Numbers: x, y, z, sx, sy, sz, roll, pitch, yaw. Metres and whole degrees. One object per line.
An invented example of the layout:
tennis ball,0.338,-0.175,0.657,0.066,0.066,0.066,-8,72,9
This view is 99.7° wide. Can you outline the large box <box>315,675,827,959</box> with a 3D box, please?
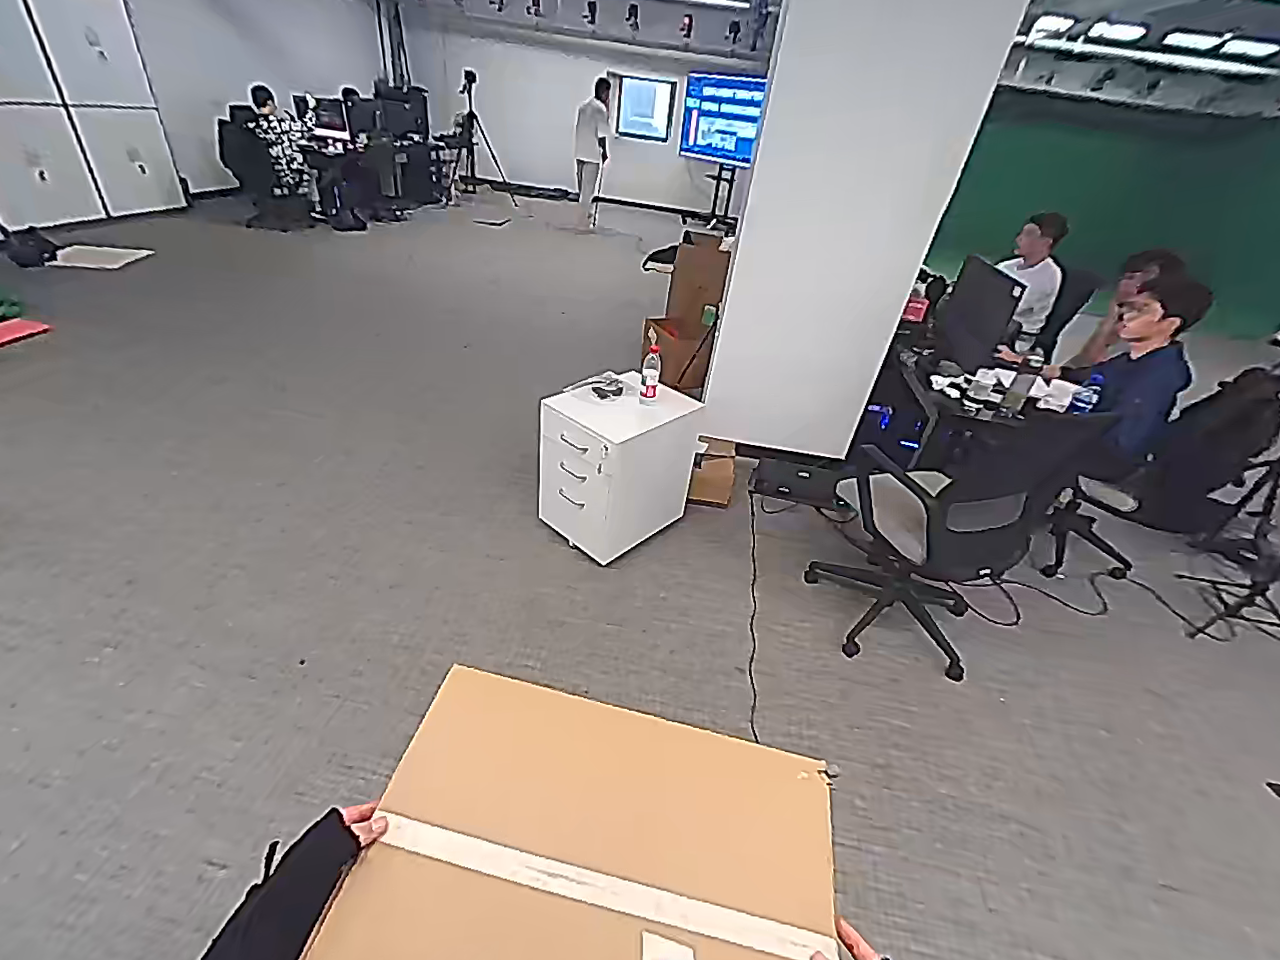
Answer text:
large box,-0.058,0.460,0.559,0.408,0.320,0.320,14,41,3
